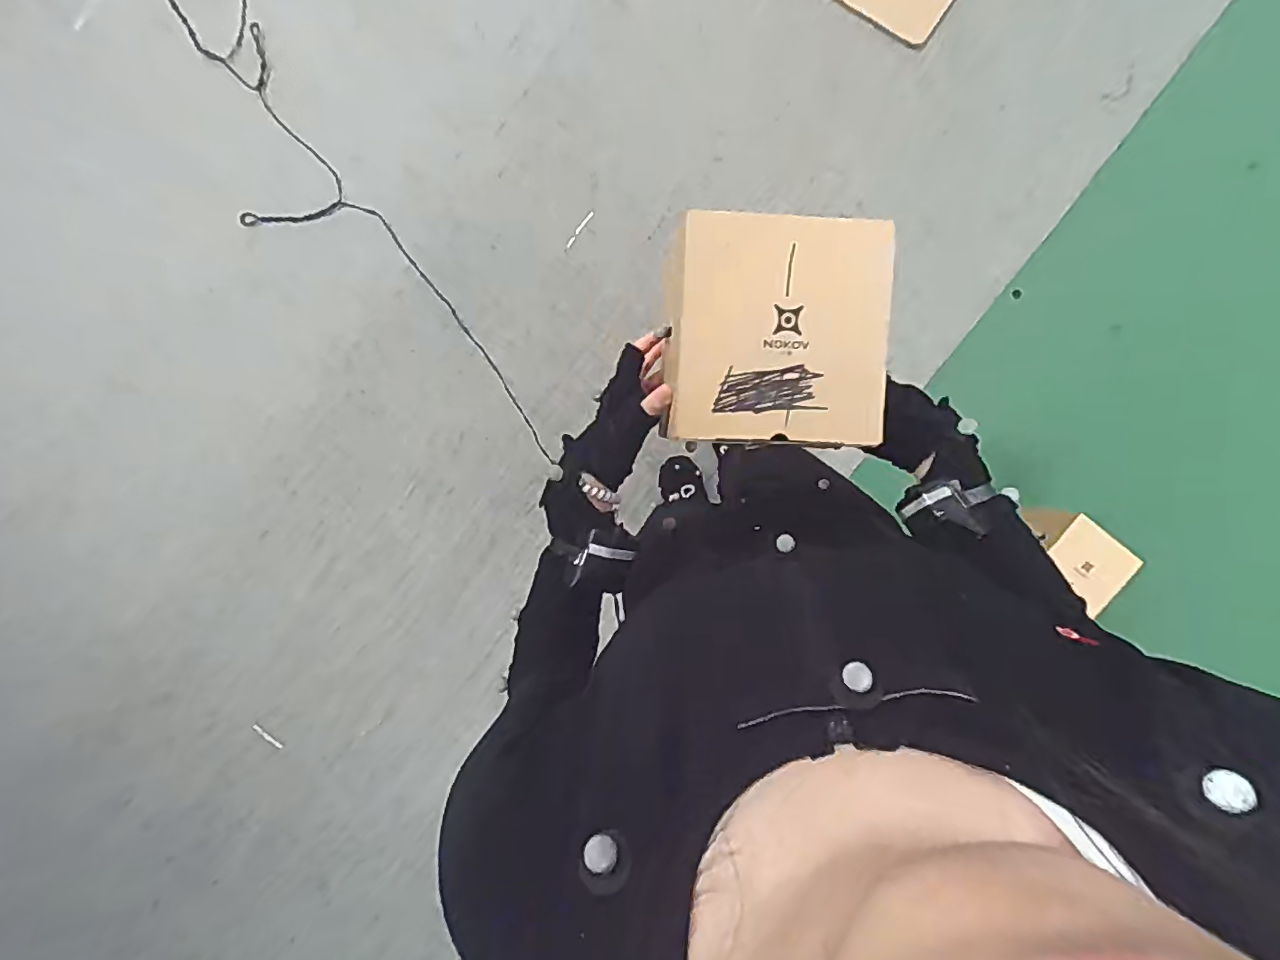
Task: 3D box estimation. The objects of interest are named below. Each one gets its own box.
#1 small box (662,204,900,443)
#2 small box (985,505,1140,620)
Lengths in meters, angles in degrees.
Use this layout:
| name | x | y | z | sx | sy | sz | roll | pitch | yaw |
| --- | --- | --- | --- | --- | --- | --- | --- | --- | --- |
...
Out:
| name | x | y | z | sx | sy | sz | roll | pitch | yaw |
| --- | --- | --- | --- | --- | --- | --- | --- | --- | --- |
| small box | 0.111 | -0.127 | 0.499 | 0.168 | 0.176 | 0.179 | 2 | 95 | -4 |
| small box | 0.920 | 0.173 | 1.199 | 0.168 | 0.176 | 0.179 | 39 | 95 | 1 |
